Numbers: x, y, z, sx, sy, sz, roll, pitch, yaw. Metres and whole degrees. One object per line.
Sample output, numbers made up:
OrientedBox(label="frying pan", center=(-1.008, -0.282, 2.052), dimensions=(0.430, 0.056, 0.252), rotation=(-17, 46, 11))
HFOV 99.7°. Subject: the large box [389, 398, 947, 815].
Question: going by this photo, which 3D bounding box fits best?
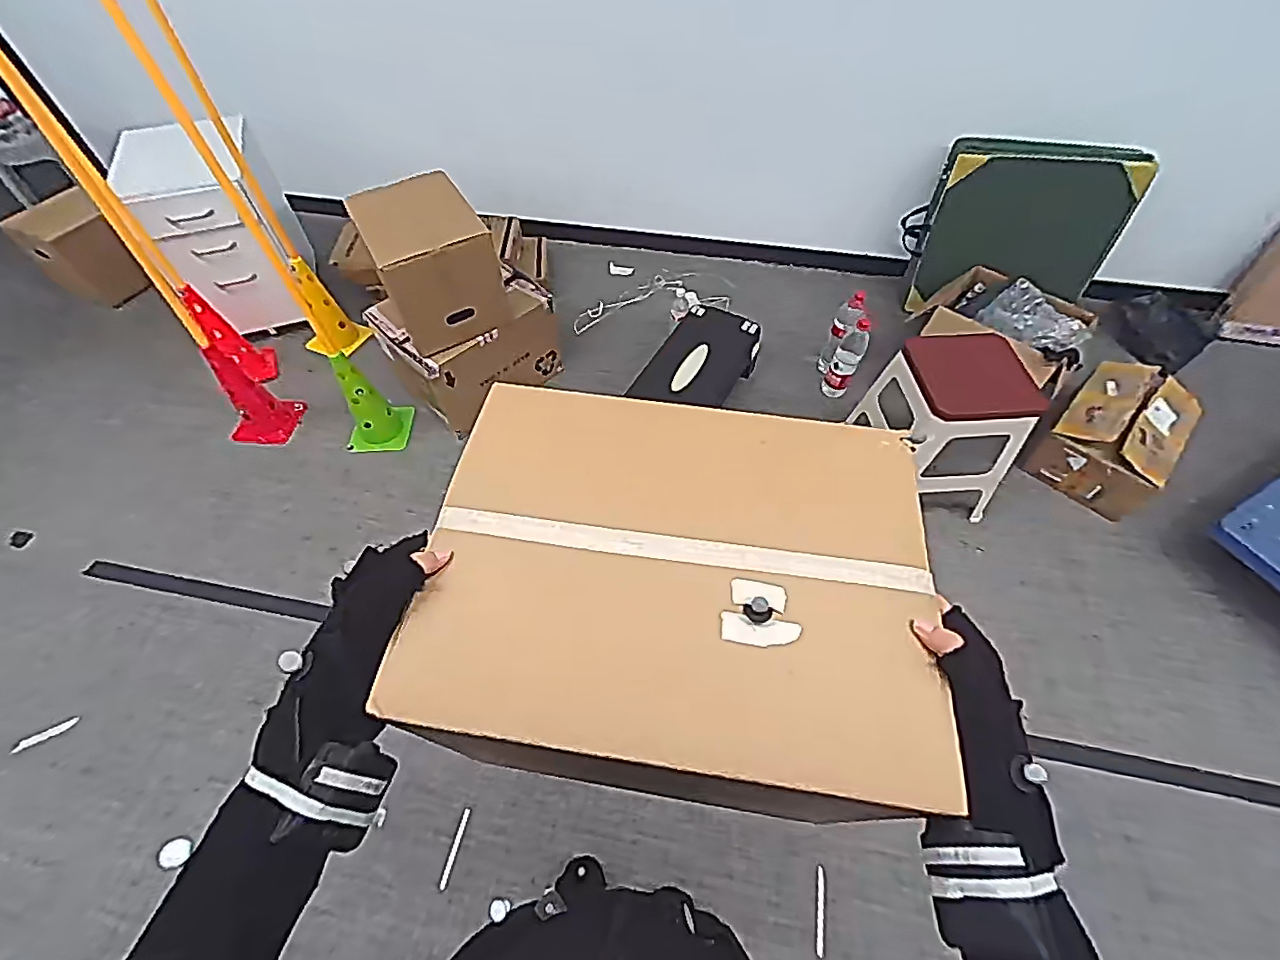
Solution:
OrientedBox(label="large box", center=(0.030, 0.146, 0.581), dimensions=(0.408, 0.320, 0.320), rotation=(8, 57, 4))
